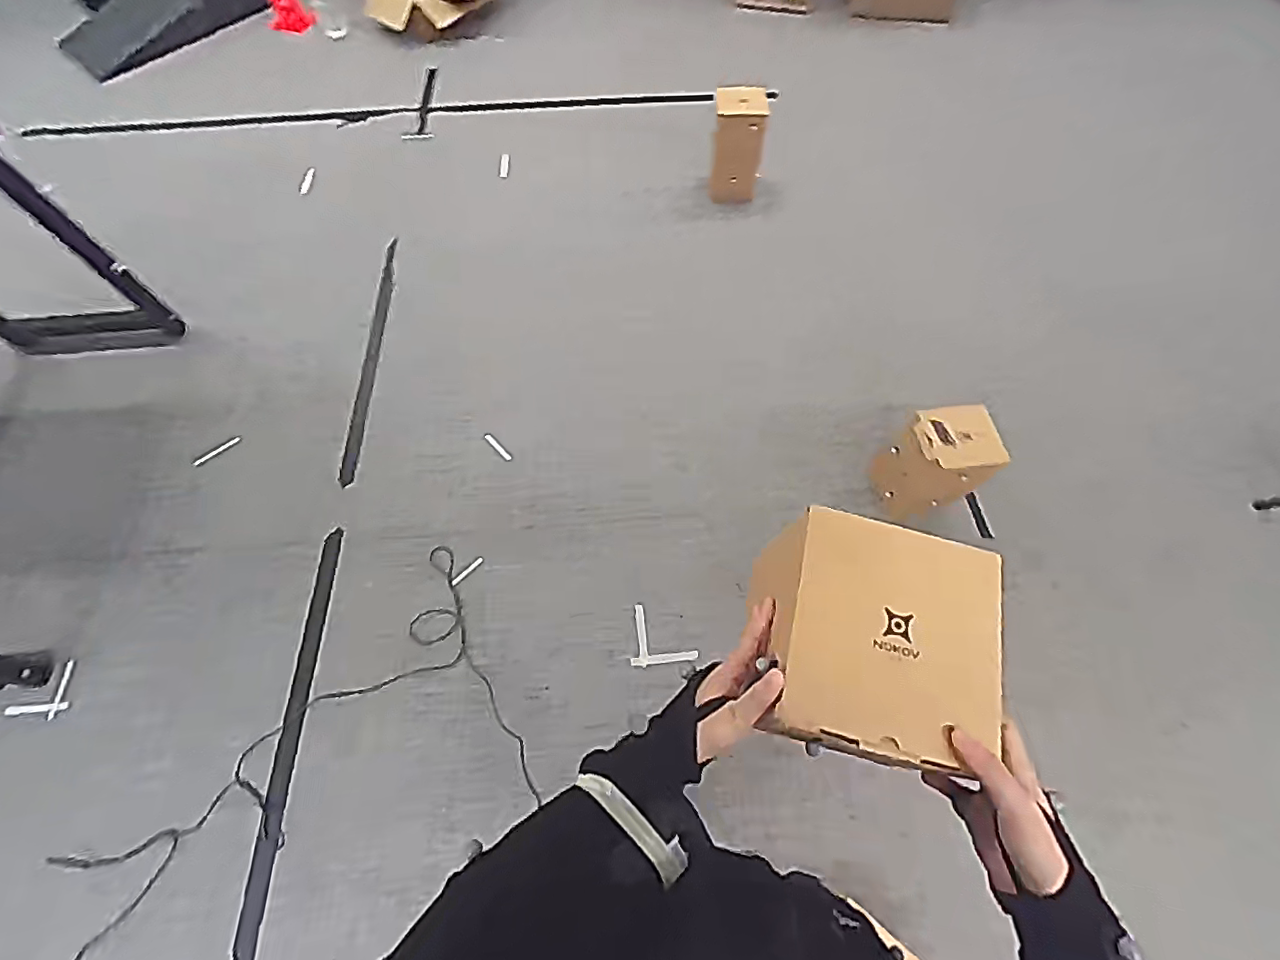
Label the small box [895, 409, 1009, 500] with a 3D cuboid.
[{"bbox_3d":[0.771,-0.059,1.366,0.179,0.176,0.168,-6,64,-3],"label":"small box"}]

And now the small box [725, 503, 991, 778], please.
[{"bbox_3d":[0.185,0.146,0.494,0.168,0.176,0.179,15,68,1],"label":"small box"}]

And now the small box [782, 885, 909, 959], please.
[{"bbox_3d":[0.406,0.942,1.054,0.179,0.176,0.168,37,70,17],"label":"small box"}]

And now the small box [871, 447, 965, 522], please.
[{"bbox_3d":[0.772,0.009,1.516,0.179,0.176,0.168,-7,65,-4],"label":"small box"}]

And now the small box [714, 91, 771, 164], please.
[{"bbox_3d":[0.368,-1.280,1.971,0.179,0.176,0.168,0,63,1],"label":"small box"}]
